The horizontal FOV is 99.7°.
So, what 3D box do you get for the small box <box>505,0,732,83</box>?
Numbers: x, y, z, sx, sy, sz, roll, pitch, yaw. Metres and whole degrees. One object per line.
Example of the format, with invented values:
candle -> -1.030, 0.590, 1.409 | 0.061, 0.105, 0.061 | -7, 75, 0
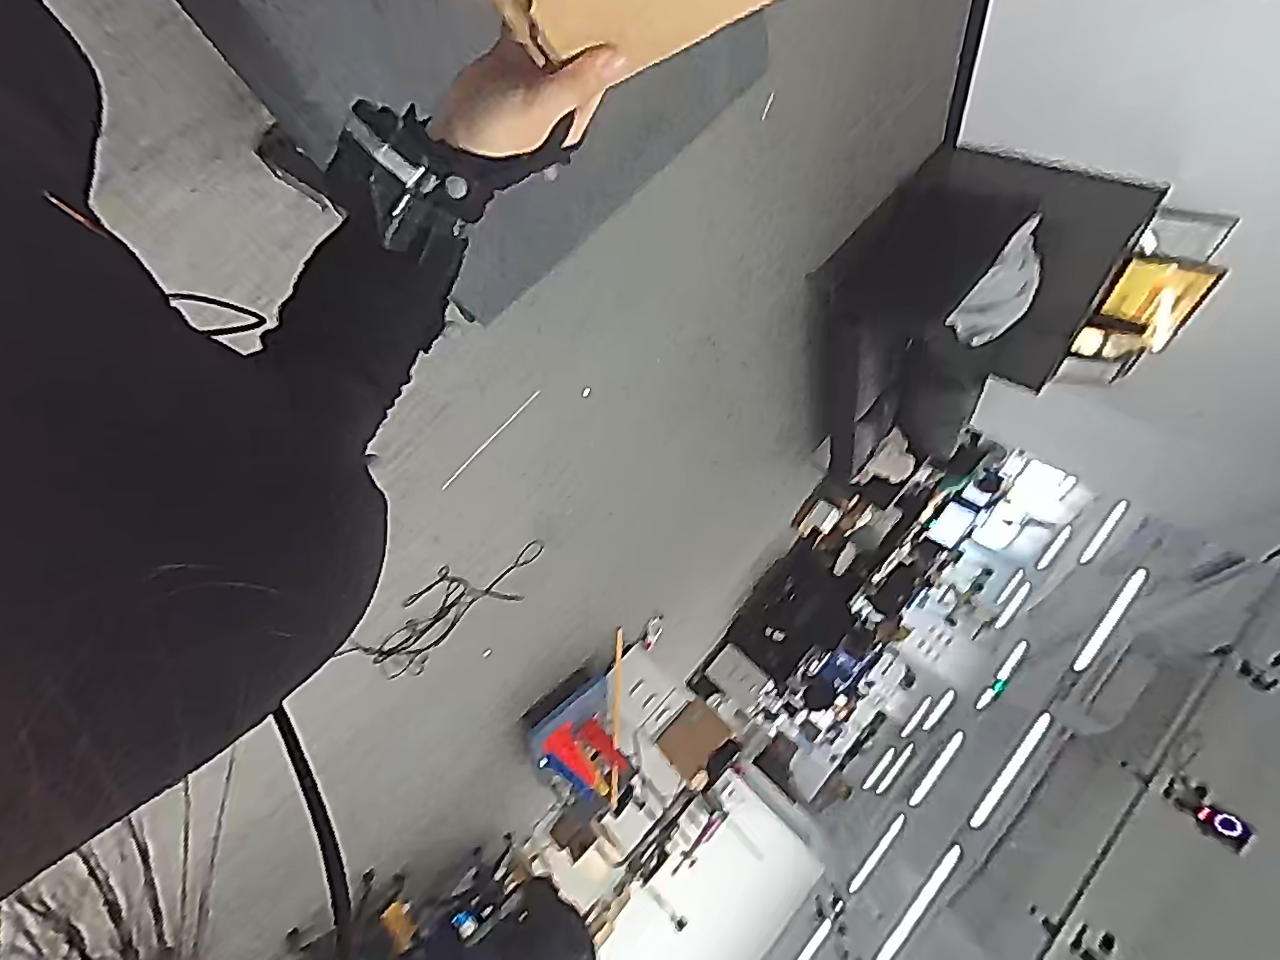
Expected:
small box -> -0.011, -0.322, 0.212 | 0.179, 0.176, 0.168 | -17, -176, 18
